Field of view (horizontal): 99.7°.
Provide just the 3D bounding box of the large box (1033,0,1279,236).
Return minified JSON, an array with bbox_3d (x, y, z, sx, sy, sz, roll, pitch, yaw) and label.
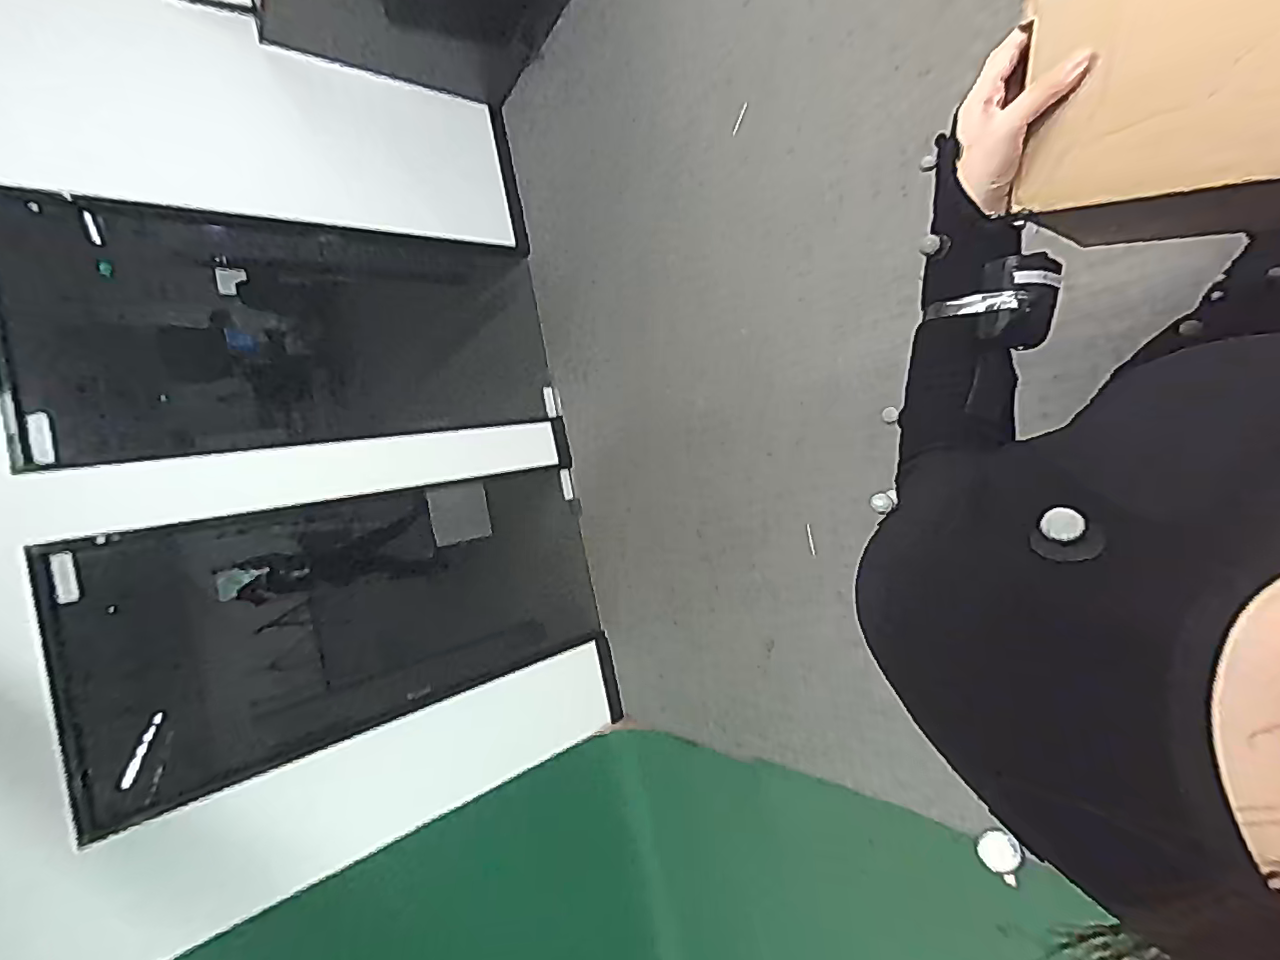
[{"bbox_3d":[0.535,-0.363,0.340,0.408,0.320,0.320,13,112,43],"label":"large box"}]
